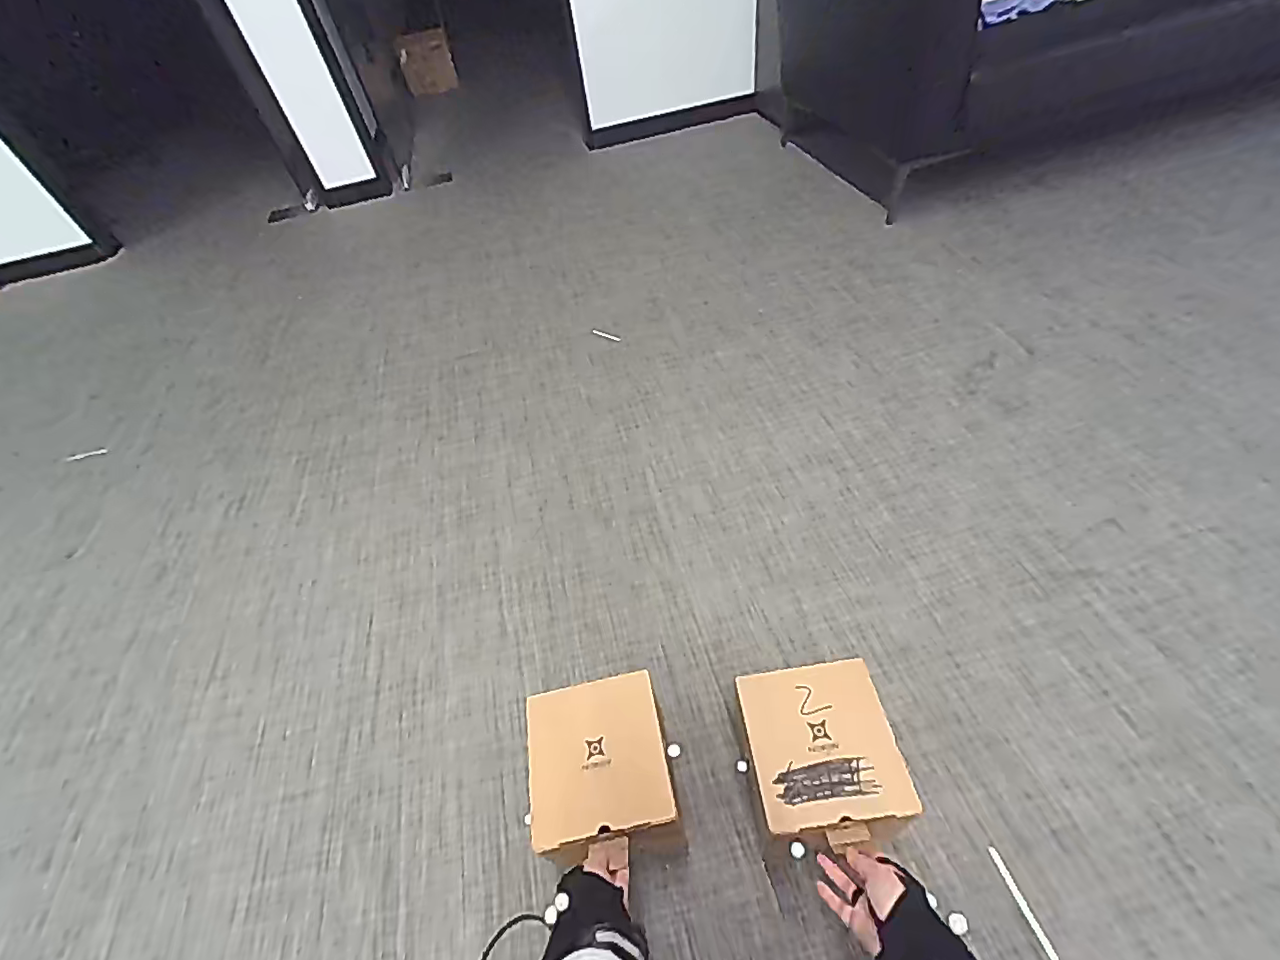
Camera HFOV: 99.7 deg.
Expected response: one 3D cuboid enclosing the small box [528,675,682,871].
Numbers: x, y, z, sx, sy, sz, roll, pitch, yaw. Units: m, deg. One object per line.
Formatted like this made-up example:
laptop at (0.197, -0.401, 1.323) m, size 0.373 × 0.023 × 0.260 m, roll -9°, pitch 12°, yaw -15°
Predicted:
small box at (-0.044, 0.388, 0.715) m, size 0.168 × 0.176 × 0.179 m, roll -13°, pitch 49°, yaw -1°
